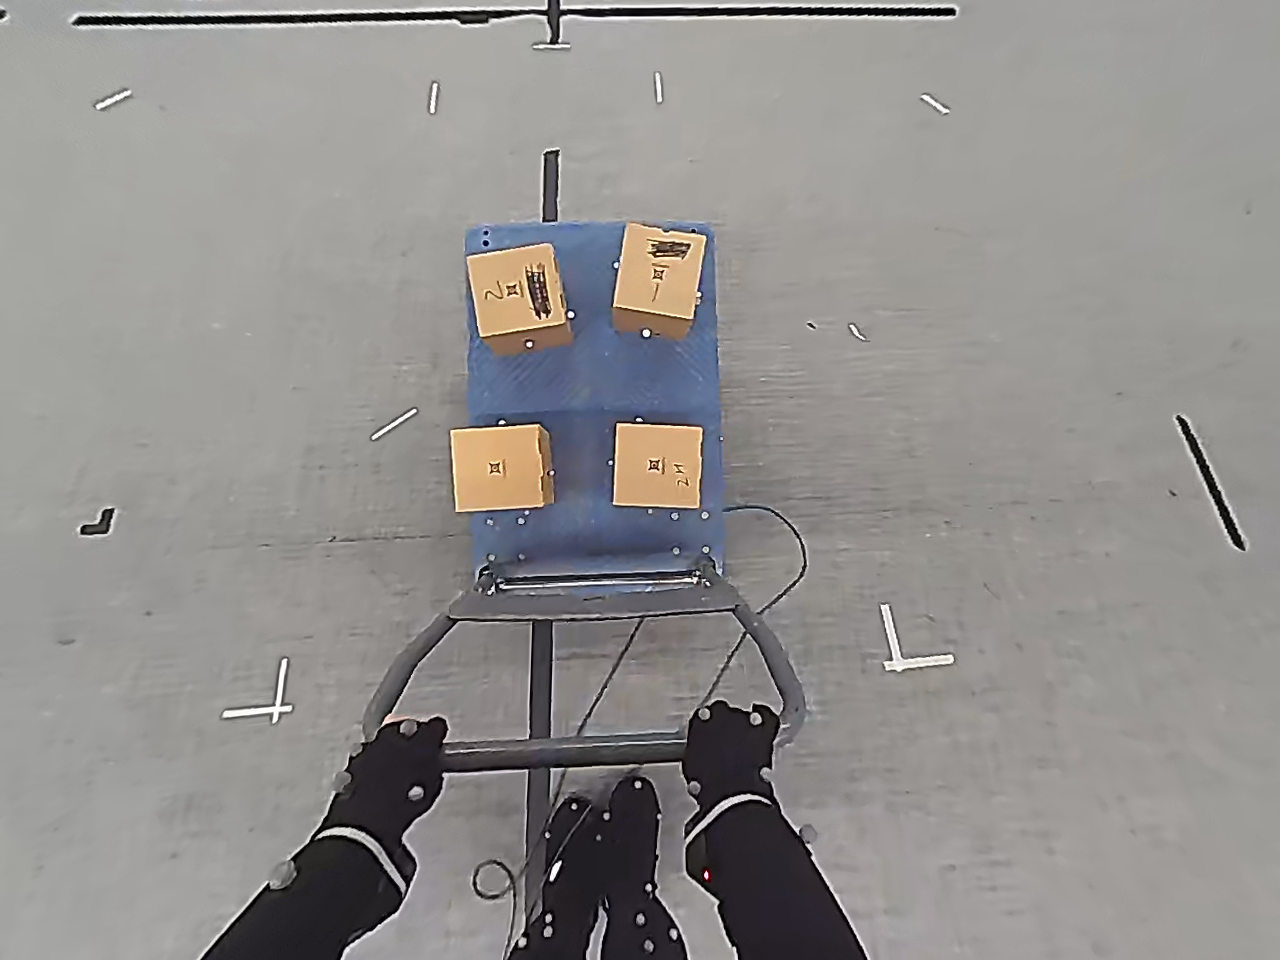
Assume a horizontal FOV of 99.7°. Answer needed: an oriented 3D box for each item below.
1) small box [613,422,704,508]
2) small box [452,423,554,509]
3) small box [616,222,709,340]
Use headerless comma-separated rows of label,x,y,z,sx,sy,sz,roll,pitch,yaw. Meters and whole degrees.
small box,0.035,-0.028,1.156,0.179,0.176,0.168,3,89,-2
small box,-0.283,-0.025,1.144,0.179,0.176,0.168,-4,89,-4
small box,0.041,-0.419,1.164,0.168,0.176,0.179,10,90,-2
